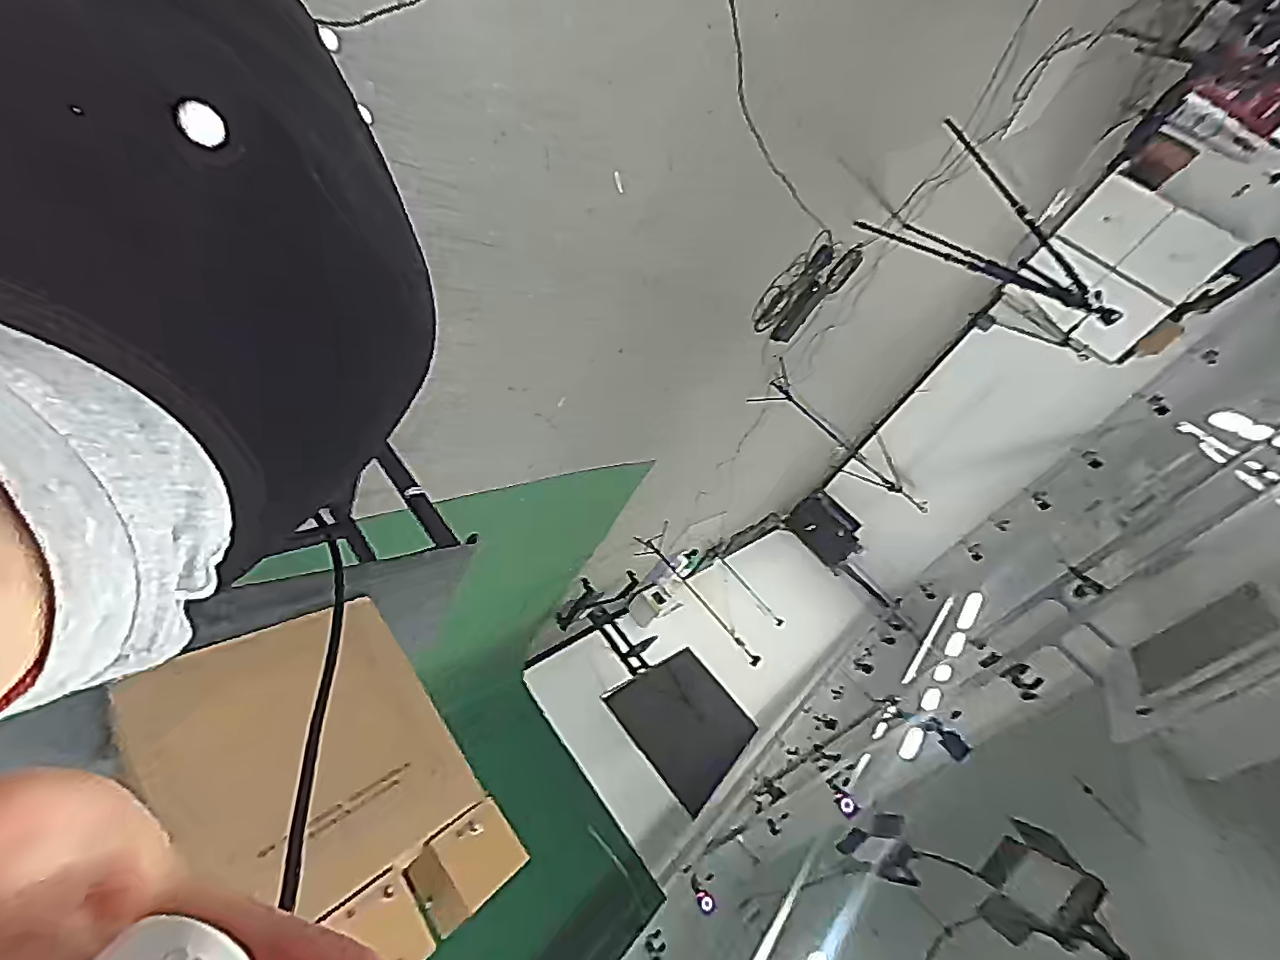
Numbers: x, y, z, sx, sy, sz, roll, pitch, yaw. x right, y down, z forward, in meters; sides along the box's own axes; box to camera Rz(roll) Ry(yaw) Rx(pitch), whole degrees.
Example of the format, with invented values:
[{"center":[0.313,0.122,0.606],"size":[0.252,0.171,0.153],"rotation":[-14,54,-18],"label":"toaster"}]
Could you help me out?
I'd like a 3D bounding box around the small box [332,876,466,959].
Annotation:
[{"center":[-0.478,0.931,1.062],"size":[0.168,0.176,0.179],"rotation":[-16,145,-51],"label":"small box"}]
